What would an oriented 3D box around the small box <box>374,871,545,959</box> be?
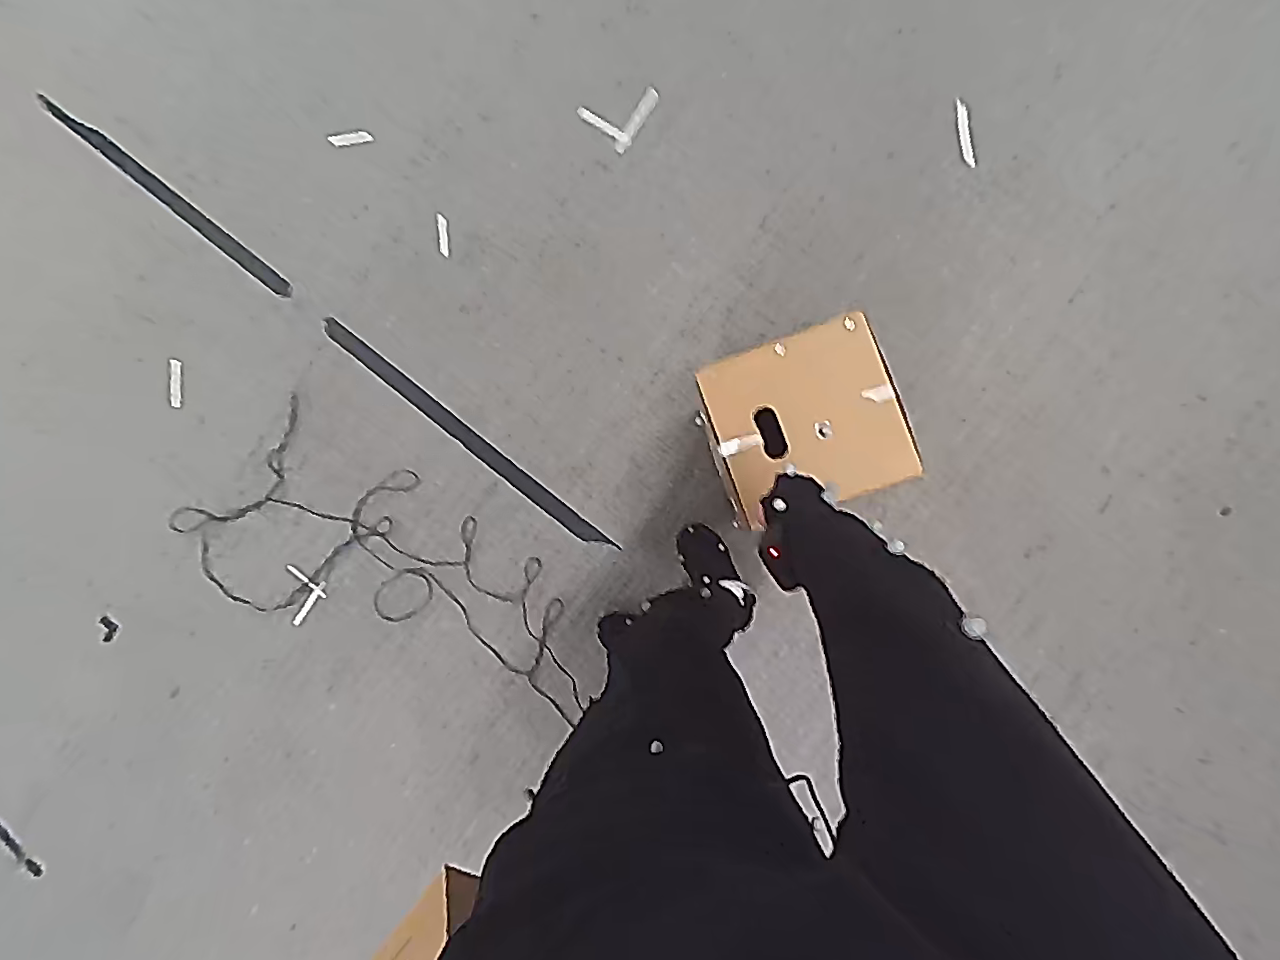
[{"bbox_3d":[-0.230,0.662,0.692,0.176,0.179,0.168,41,85,-23],"label":"small box"}]
